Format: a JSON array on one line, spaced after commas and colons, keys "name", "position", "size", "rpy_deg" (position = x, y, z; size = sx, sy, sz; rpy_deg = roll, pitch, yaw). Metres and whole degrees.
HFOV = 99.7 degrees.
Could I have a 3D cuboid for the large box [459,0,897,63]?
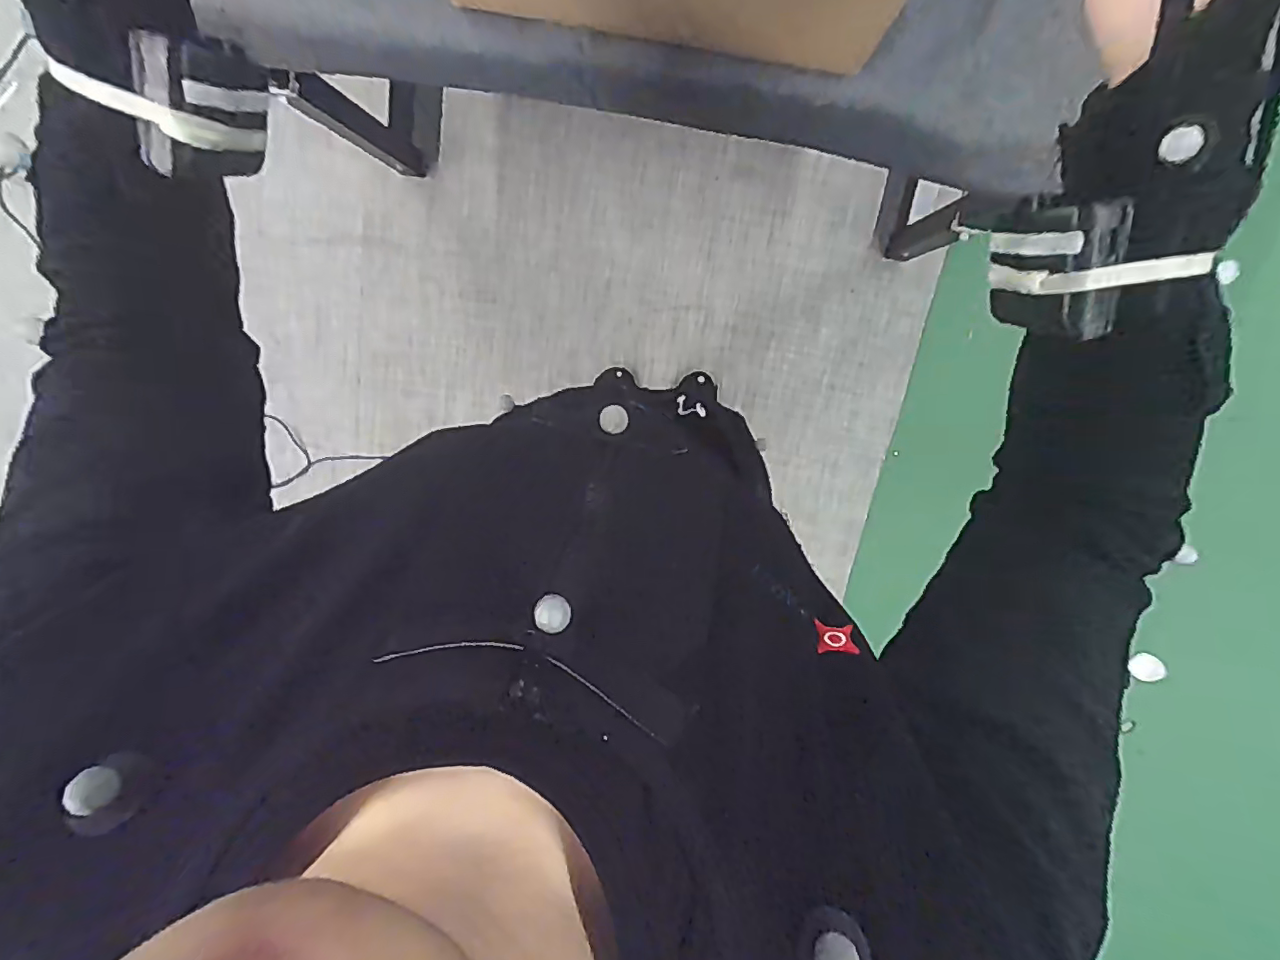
[{"name": "large box", "position": [0.032, -0.546, 0.350], "size": [0.408, 0.320, 0.320], "rpy_deg": [10, 103, 0]}]
